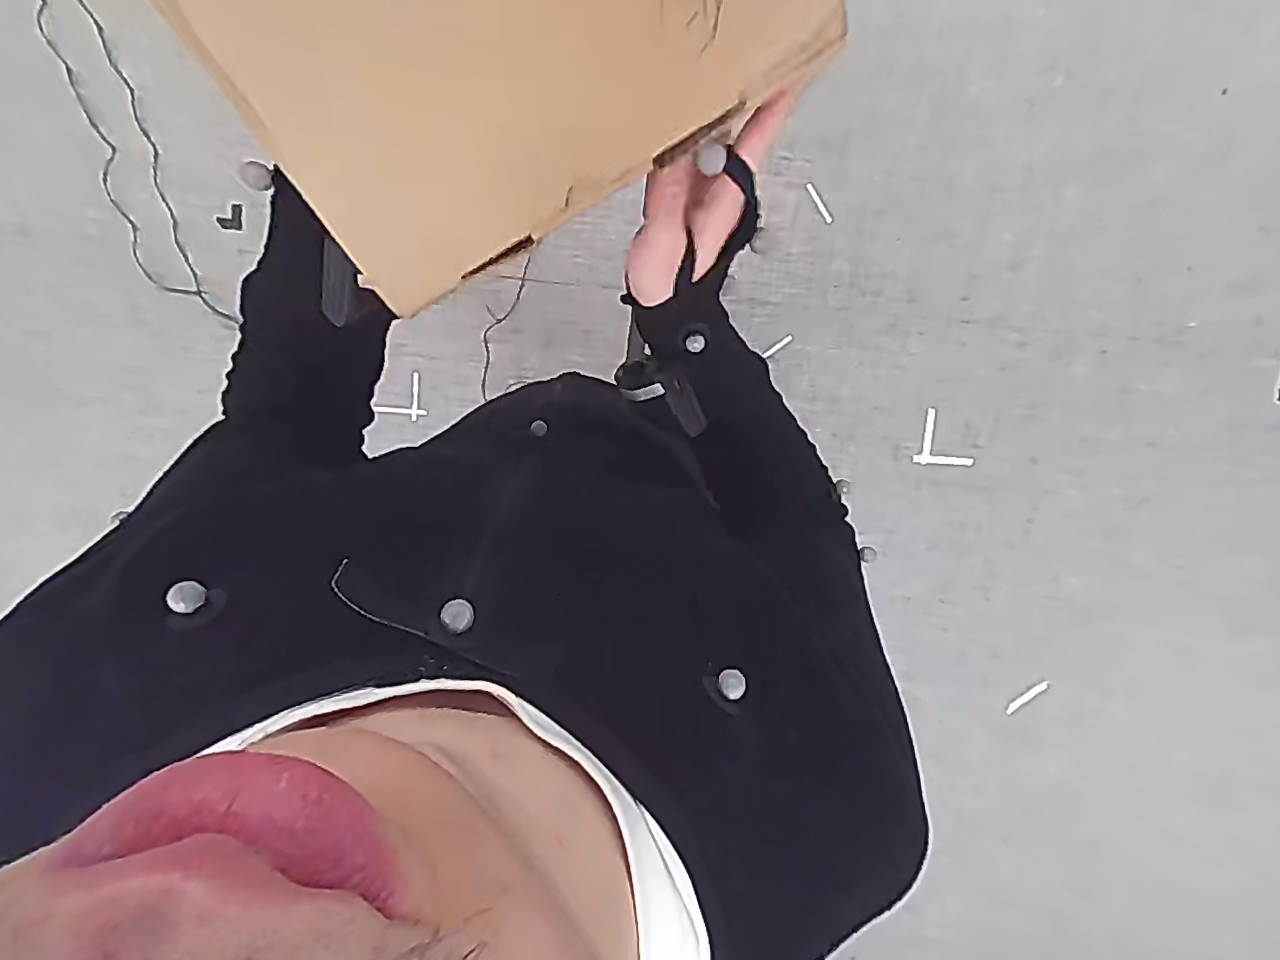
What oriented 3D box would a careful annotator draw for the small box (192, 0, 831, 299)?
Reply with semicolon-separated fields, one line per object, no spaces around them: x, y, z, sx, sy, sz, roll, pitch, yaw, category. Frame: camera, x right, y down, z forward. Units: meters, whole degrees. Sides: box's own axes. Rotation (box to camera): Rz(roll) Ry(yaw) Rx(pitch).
-0.046;-0.204;0.207;0.168;0.176;0.179;-22;117;20;small box
